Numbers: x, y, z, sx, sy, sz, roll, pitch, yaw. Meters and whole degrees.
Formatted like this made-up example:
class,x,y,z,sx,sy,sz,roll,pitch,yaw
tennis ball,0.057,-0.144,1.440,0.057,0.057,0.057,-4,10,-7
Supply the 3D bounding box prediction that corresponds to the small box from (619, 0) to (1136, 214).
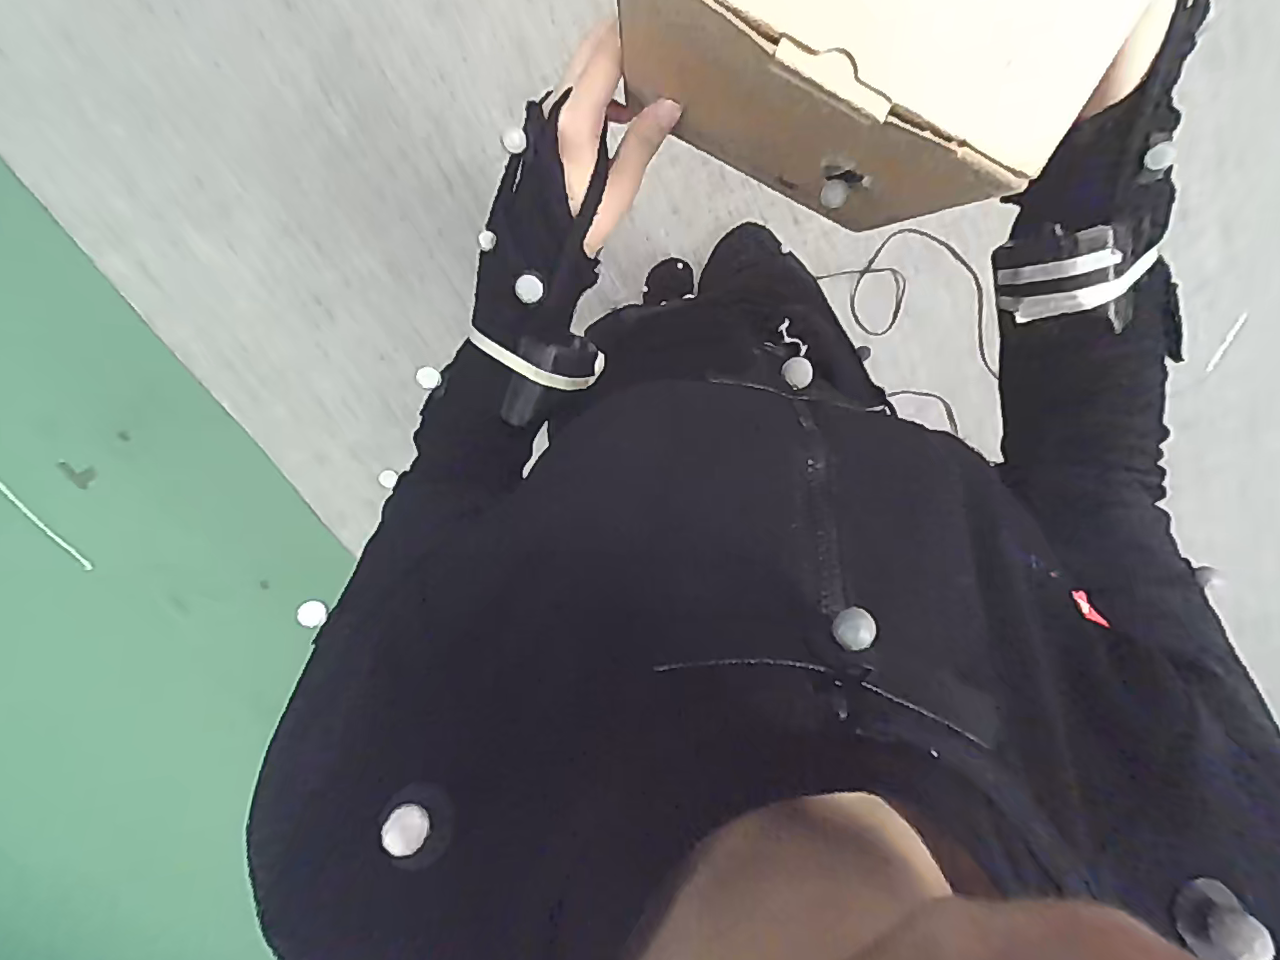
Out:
class,x,y,z,sx,sy,sz,roll,pitch,yaw
small box,0.098,-0.238,0.229,0.168,0.176,0.179,23,107,-9
